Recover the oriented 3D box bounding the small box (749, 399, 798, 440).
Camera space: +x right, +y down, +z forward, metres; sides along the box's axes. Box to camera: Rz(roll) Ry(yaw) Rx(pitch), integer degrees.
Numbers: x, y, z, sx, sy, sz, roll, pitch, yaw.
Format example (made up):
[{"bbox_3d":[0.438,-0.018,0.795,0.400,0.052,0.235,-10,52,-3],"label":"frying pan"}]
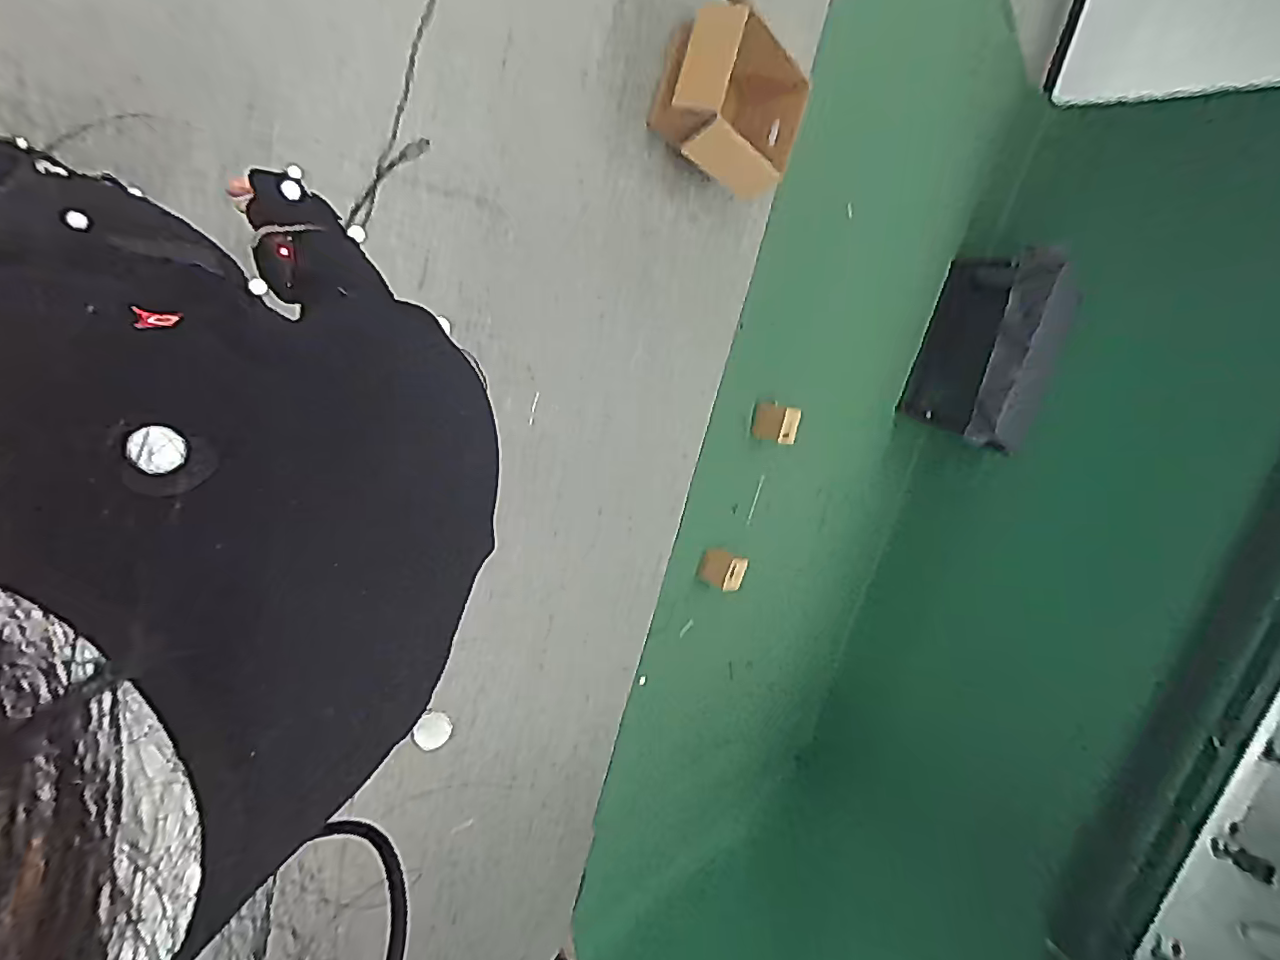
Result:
[{"bbox_3d":[0.695,-0.316,2.829,0.168,0.176,0.179,-1,109,-48],"label":"small box"}]
